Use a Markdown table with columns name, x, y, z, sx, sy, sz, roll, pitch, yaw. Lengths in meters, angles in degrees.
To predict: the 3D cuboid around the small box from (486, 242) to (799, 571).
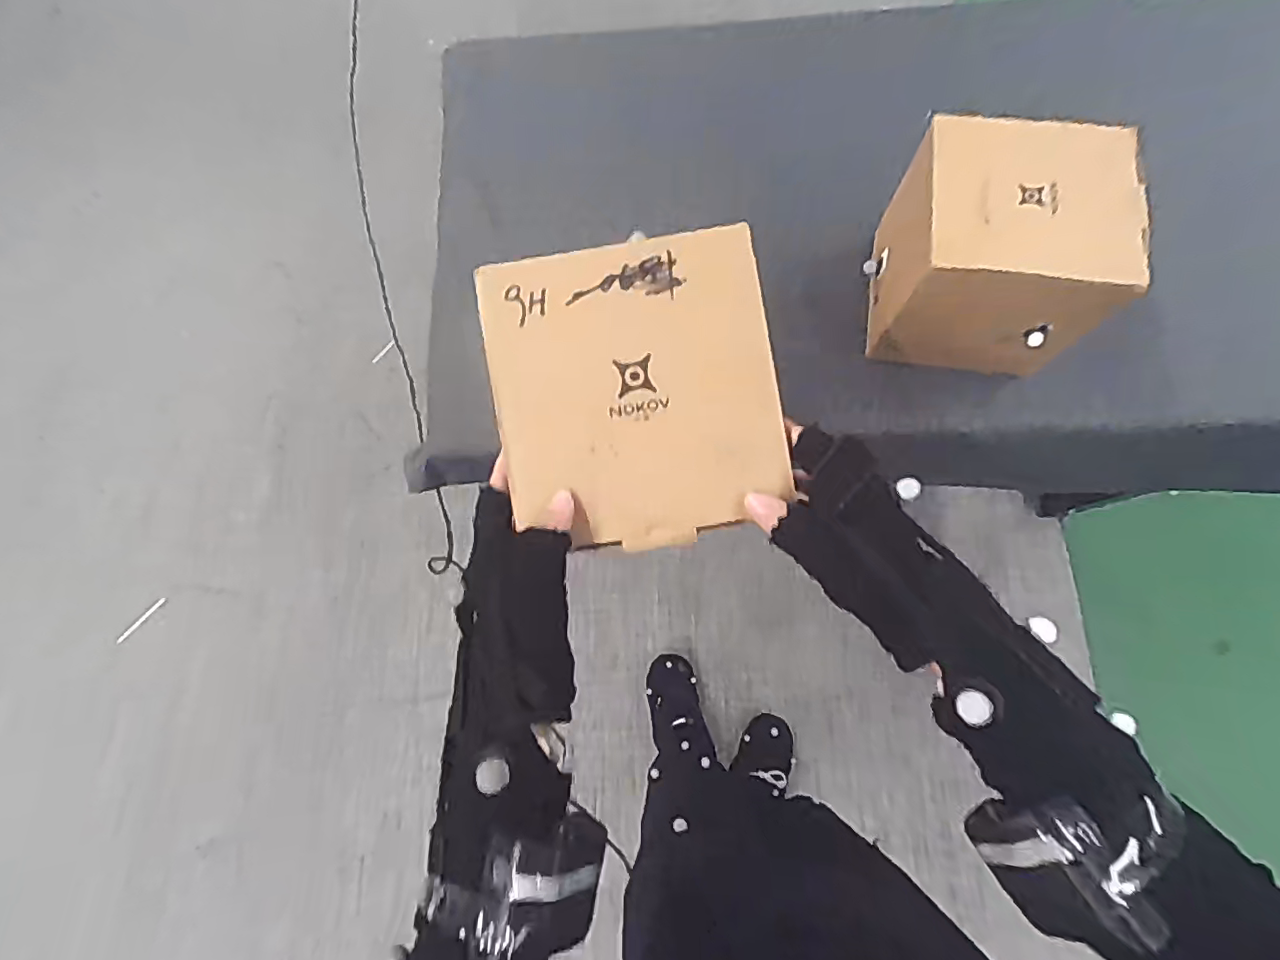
| name | x | y | z | sx | sy | sz | roll | pitch | yaw |
| --- | --- | --- | --- | --- | --- | --- | --- | --- | --- |
| small box | 0.002 | -0.044 | 0.399 | 0.168 | 0.176 | 0.179 | -10 | 90 | -1 |

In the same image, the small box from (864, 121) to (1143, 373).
| name | x | y | z | sx | sy | sz | roll | pitch | yaw |
| --- | --- | --- | --- | --- | --- | --- | --- | --- | --- |
| small box | 0.352 | -0.224 | 0.554 | 0.179 | 0.176 | 0.168 | 8 | 75 | 6 |
